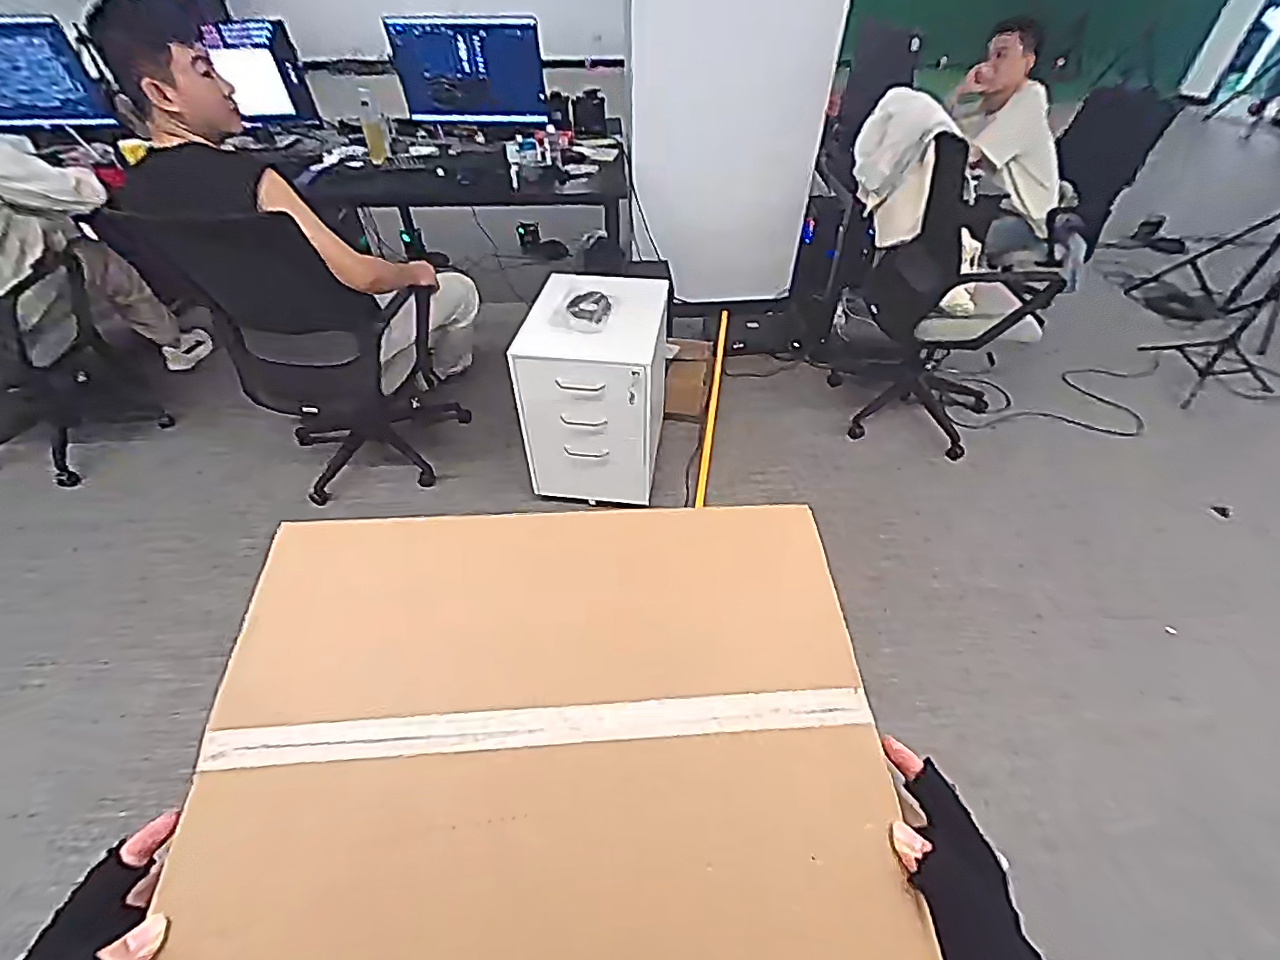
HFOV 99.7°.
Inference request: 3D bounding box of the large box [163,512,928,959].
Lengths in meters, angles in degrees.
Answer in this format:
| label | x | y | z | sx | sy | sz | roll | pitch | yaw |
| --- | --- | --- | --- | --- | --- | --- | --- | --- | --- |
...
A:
| label | x | y | z | sx | sy | sz | roll | pitch | yaw |
| --- | --- | --- | --- | --- | --- | --- | --- | --- | --- |
| large box | -0.061 | 0.246 | 0.468 | 0.408 | 0.320 | 0.320 | -2 | 56 | -4 |
